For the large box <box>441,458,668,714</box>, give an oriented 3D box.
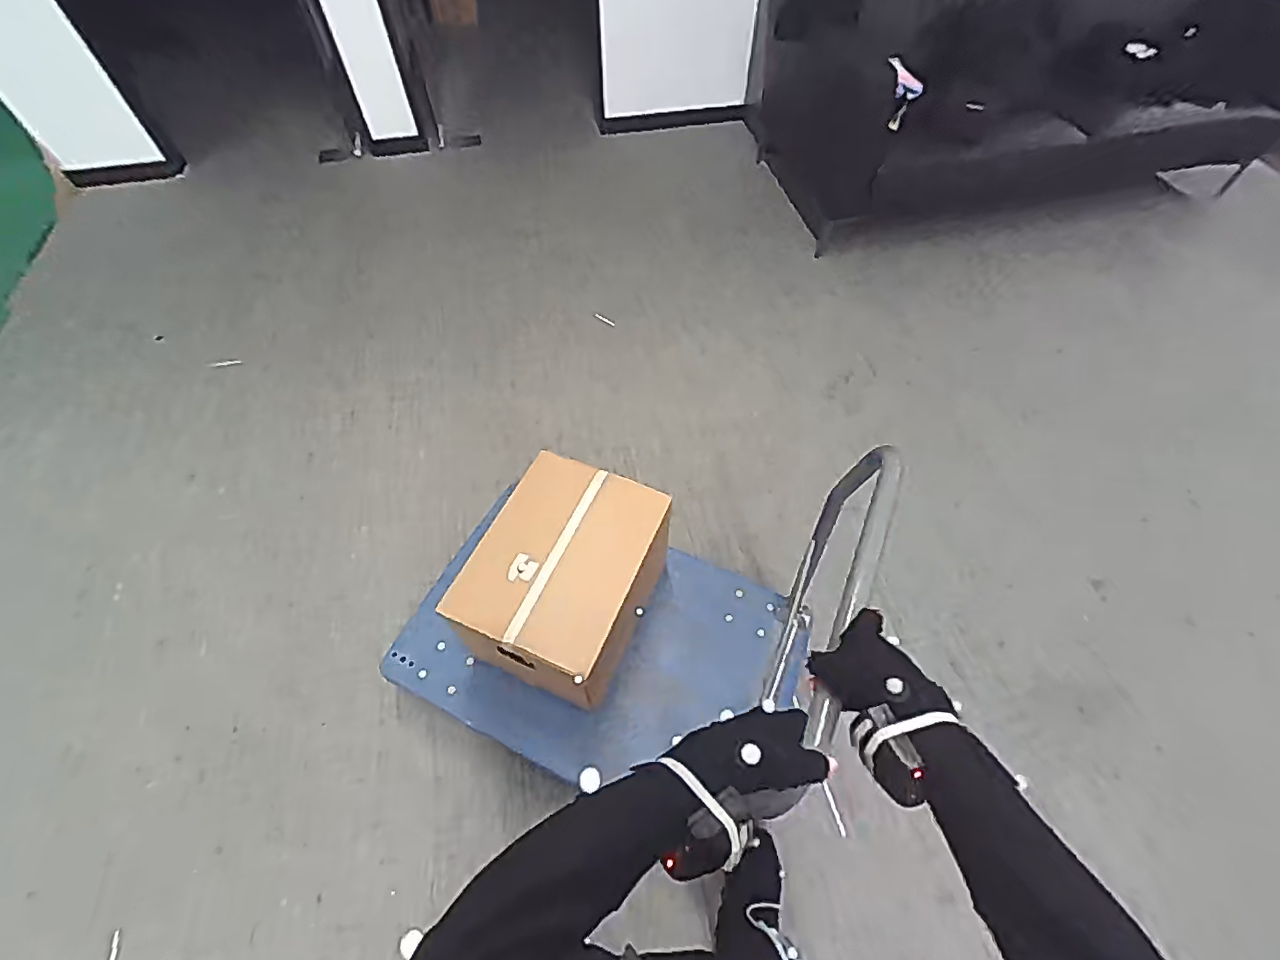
[{"bbox_3d":[-0.153,0.231,1.186,0.320,0.320,0.408,20,59,14],"label":"large box"}]
